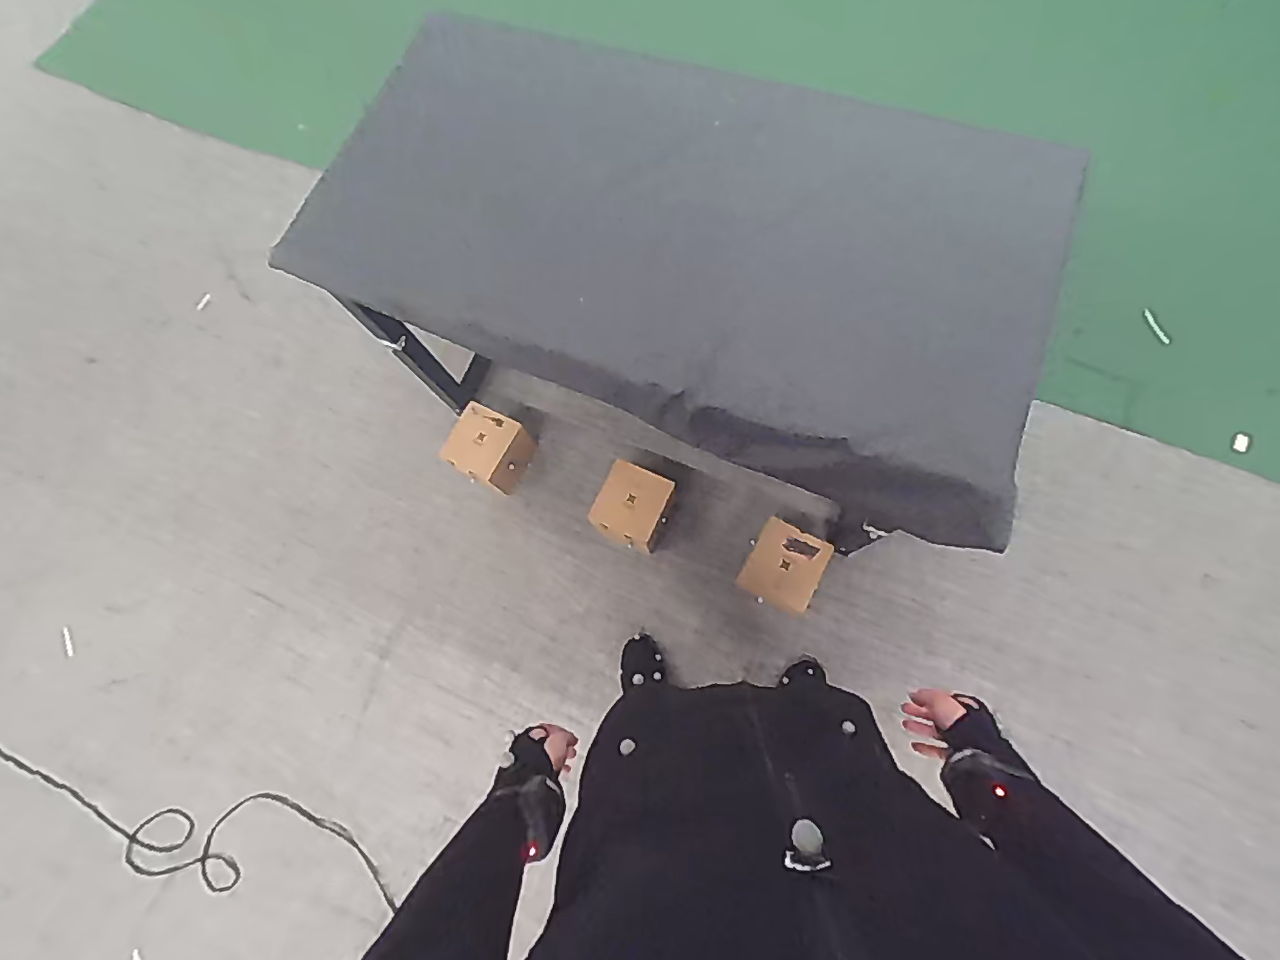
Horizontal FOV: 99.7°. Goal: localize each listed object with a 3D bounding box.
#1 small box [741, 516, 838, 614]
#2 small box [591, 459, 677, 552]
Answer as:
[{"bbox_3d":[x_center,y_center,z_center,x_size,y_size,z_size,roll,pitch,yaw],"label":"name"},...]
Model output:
[{"bbox_3d":[0.361,0.216,1.343,0.168,0.176,0.179,27,80,13],"label":"small box"},{"bbox_3d":[-0.007,0.075,1.426,0.168,0.176,0.179,24,76,10],"label":"small box"}]
